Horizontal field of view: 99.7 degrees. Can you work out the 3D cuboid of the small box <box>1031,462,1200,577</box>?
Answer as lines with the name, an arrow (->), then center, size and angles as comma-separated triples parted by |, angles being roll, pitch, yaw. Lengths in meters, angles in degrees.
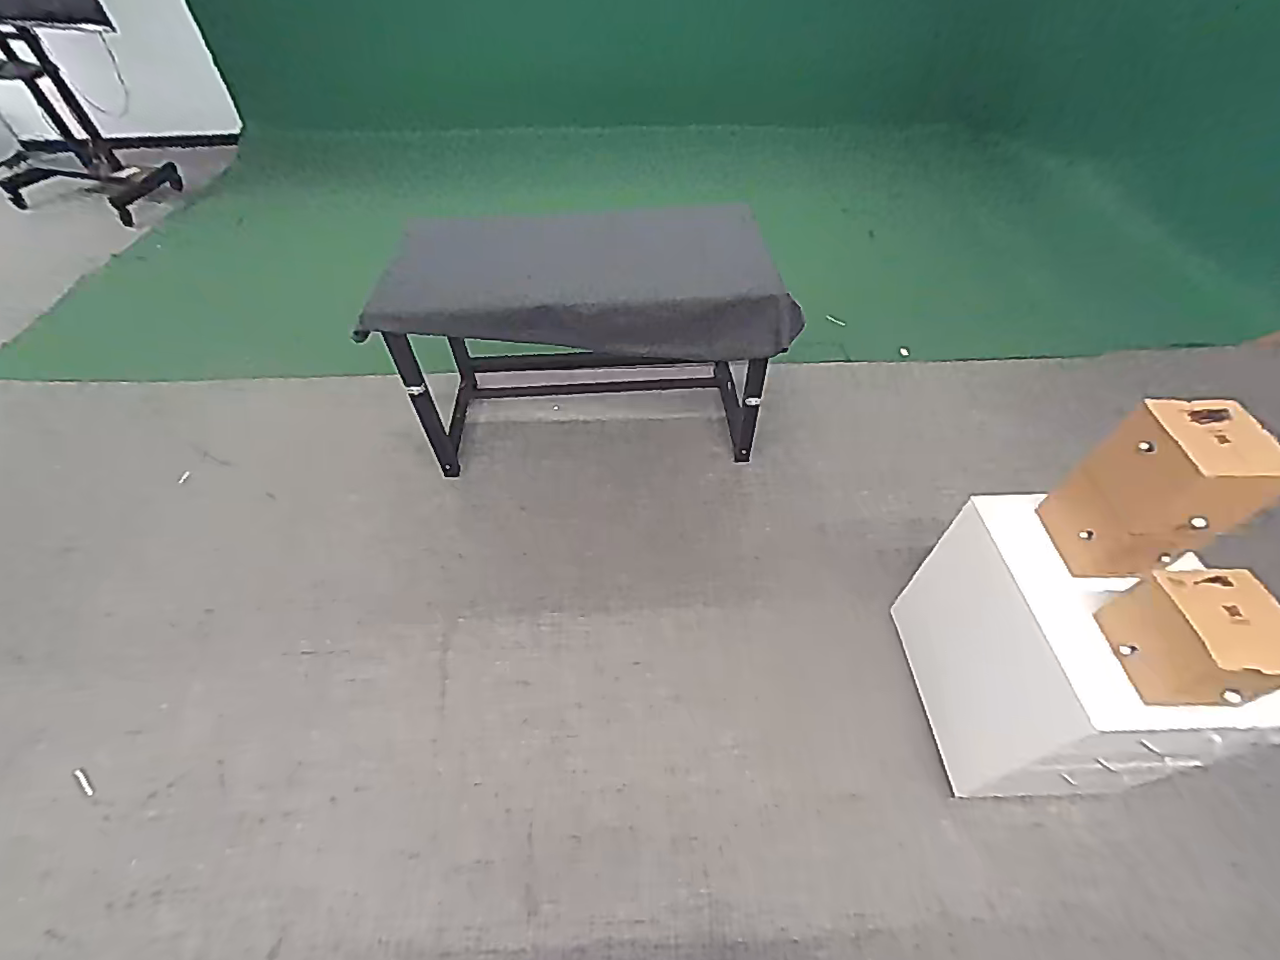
small box -> 0.950, 0.083, 1.094 | 0.168, 0.176, 0.179 | 1, 50, -2

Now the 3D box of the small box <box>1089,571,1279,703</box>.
small box -> 0.944, 0.274, 0.932 | 0.168, 0.176, 0.179 | 0, 50, 0

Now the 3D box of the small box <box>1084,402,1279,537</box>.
small box -> 0.957, -0.018, 0.964 | 0.168, 0.176, 0.179 | 1, 52, -1
